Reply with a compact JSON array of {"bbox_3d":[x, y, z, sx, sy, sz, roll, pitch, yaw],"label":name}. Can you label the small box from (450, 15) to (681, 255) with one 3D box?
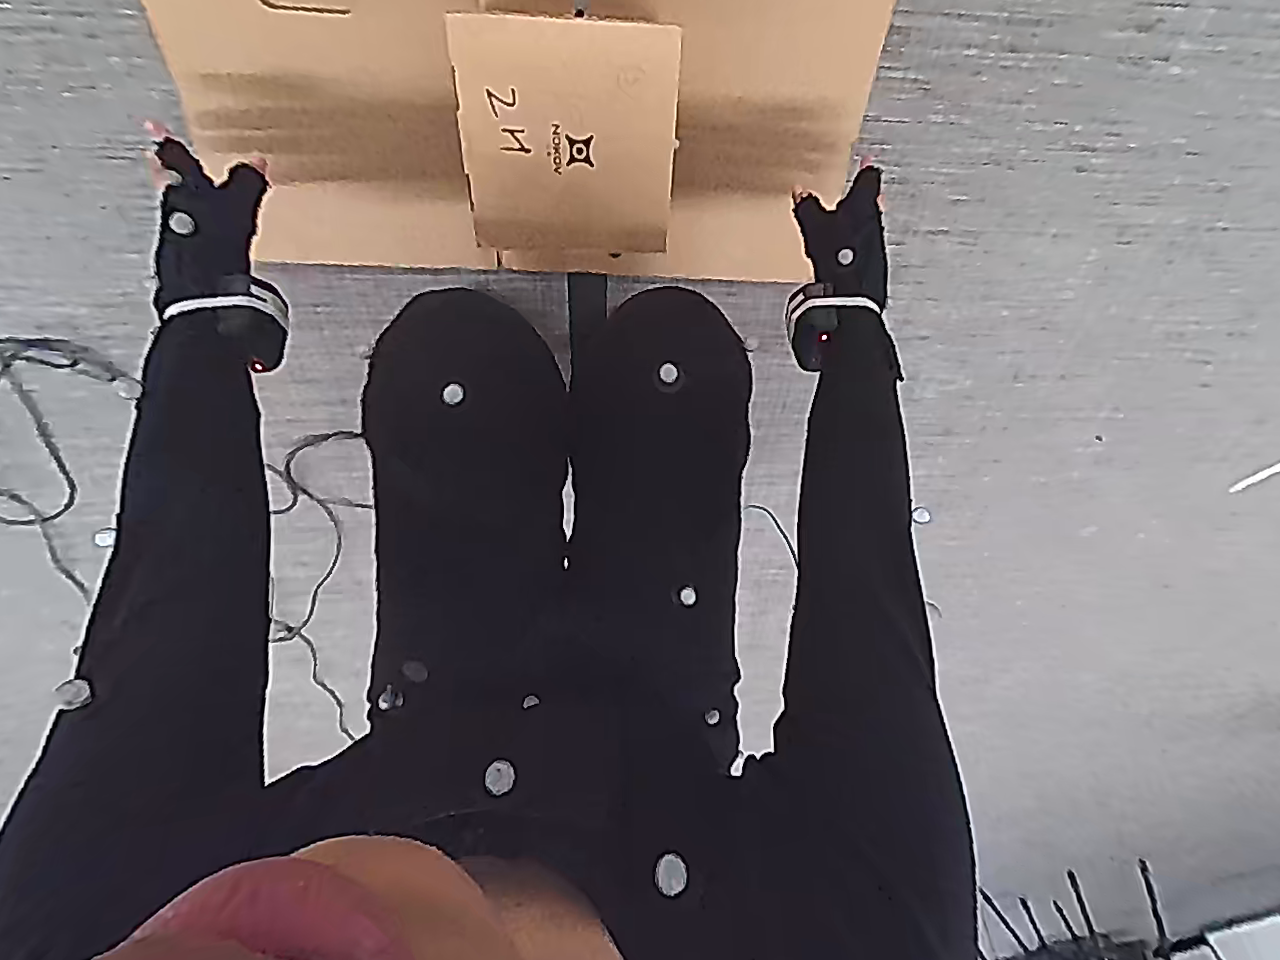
[{"bbox_3d":[-0.065,-0.327,0.513,0.179,0.176,0.168,0,130,-5],"label":"small box"}]
